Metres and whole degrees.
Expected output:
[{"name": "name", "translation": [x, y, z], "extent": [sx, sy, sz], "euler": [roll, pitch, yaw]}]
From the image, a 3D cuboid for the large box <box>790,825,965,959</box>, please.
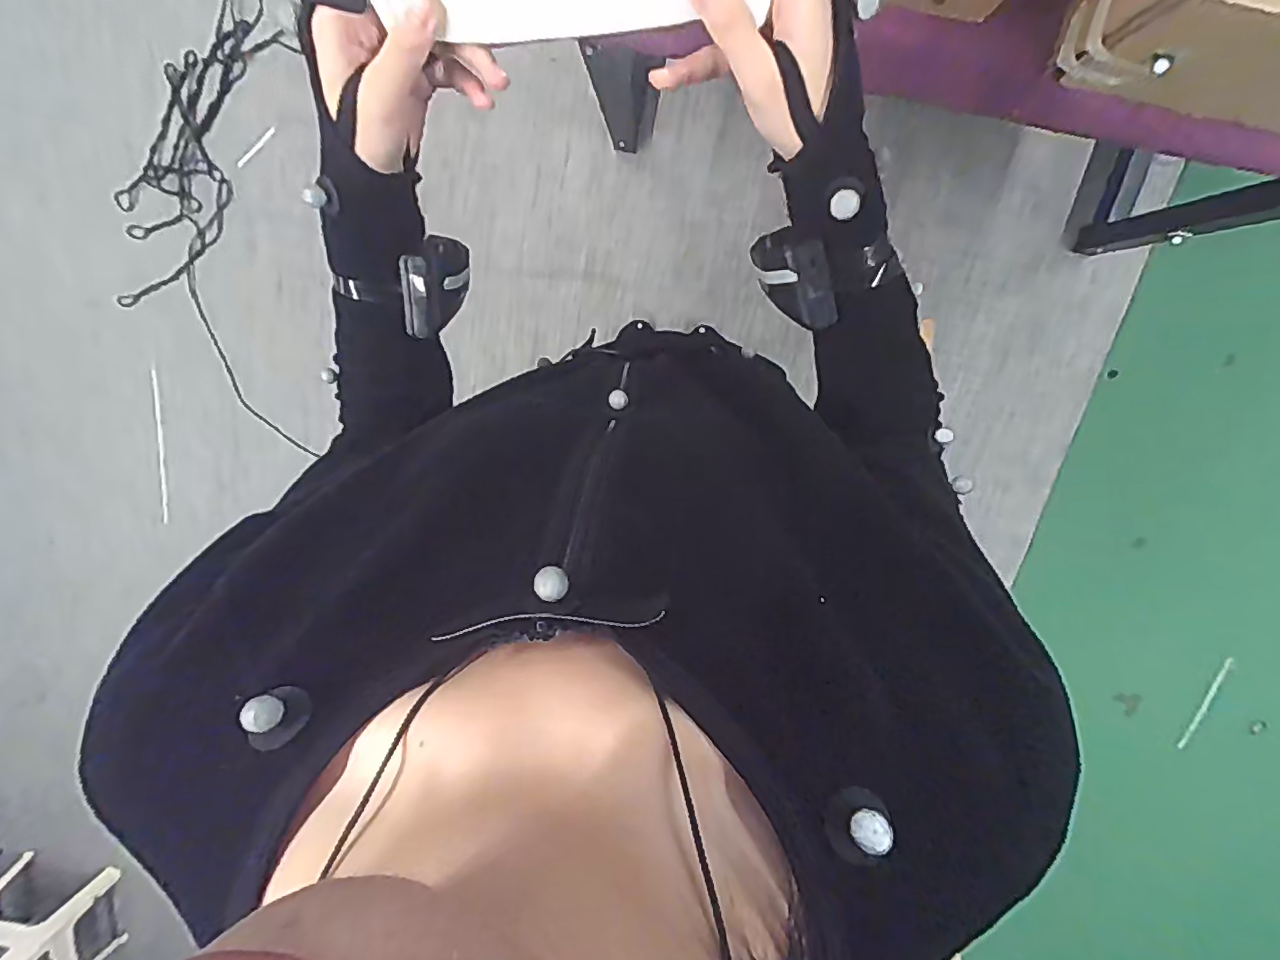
[{"name": "large box", "translation": [0.691, 1.302, 1.640], "extent": [0.408, 0.320, 0.320], "euler": [-2, 104, 3]}]
